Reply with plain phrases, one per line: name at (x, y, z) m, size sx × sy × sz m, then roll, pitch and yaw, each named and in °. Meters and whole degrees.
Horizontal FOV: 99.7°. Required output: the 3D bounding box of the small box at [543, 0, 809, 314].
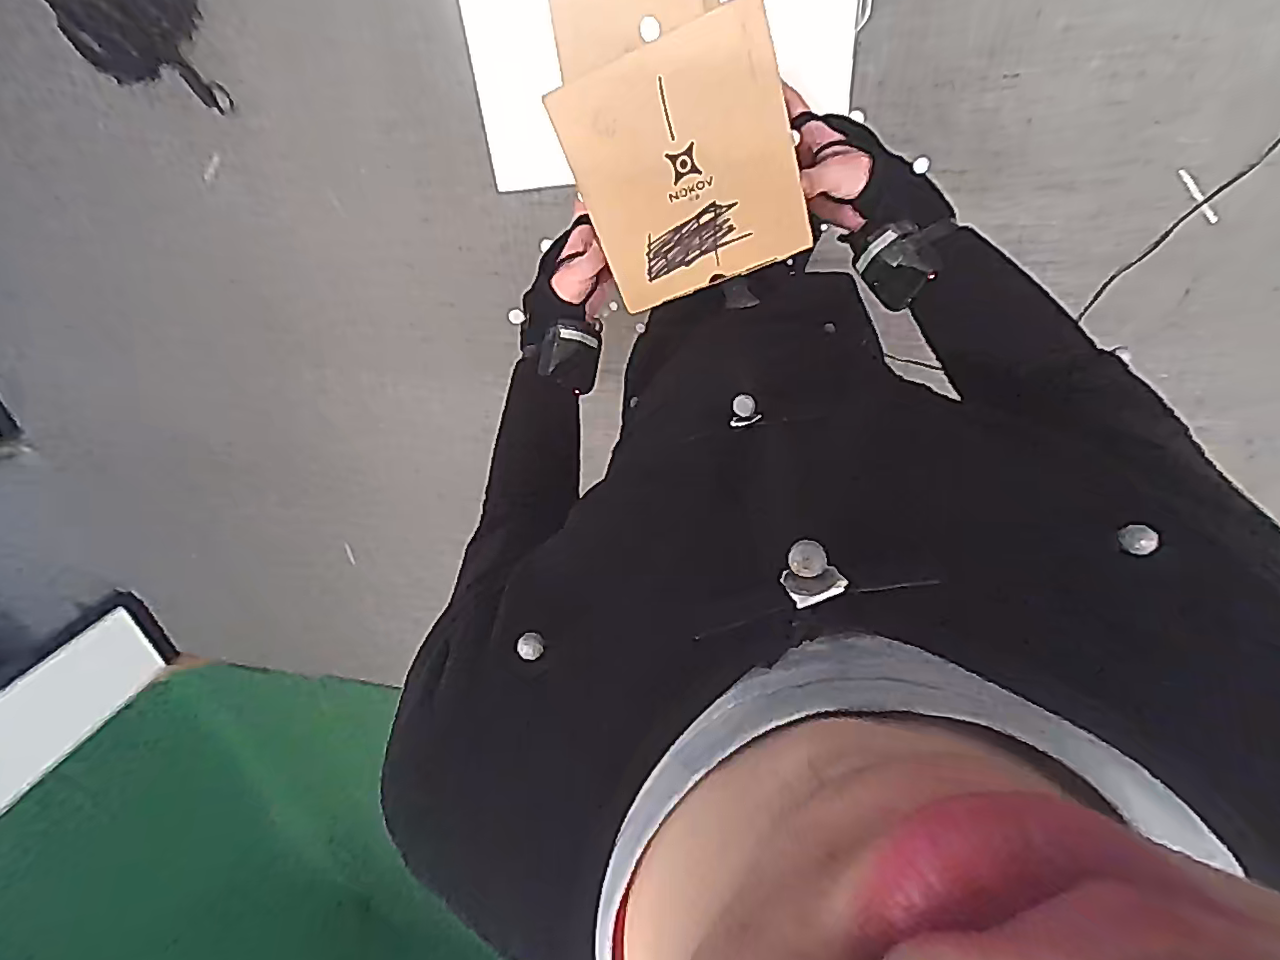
small box at (0.037, -0.283, 0.485) m, size 0.168 × 0.176 × 0.179 m, roll -18°, pitch 124°, yaw 14°
